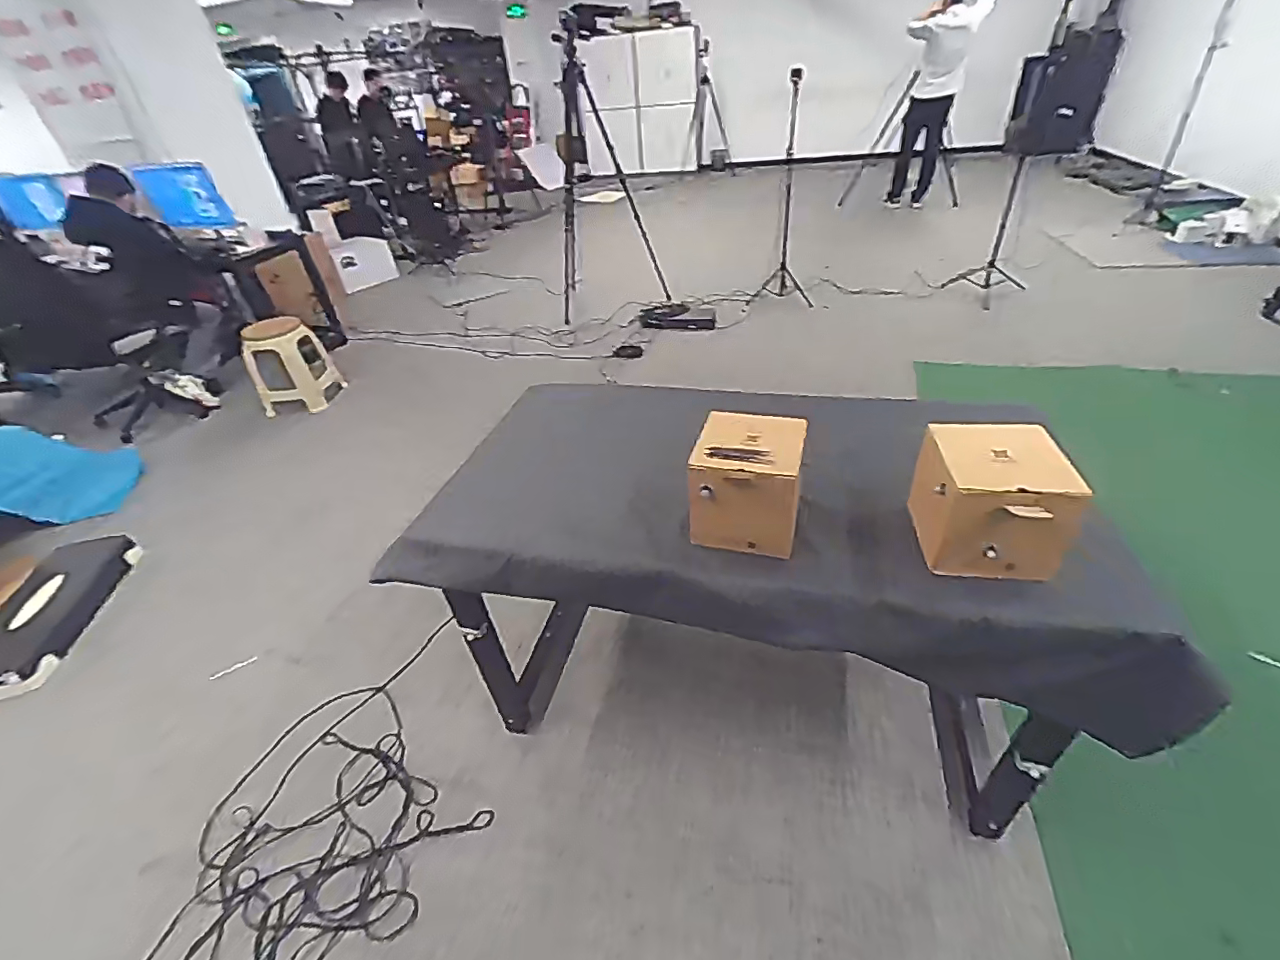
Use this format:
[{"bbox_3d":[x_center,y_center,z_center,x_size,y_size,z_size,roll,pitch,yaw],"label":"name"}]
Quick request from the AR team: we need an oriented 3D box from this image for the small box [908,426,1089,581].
[{"bbox_3d":[0.533,0.032,0.838,0.168,0.176,0.179,1,37,11],"label":"small box"}]
